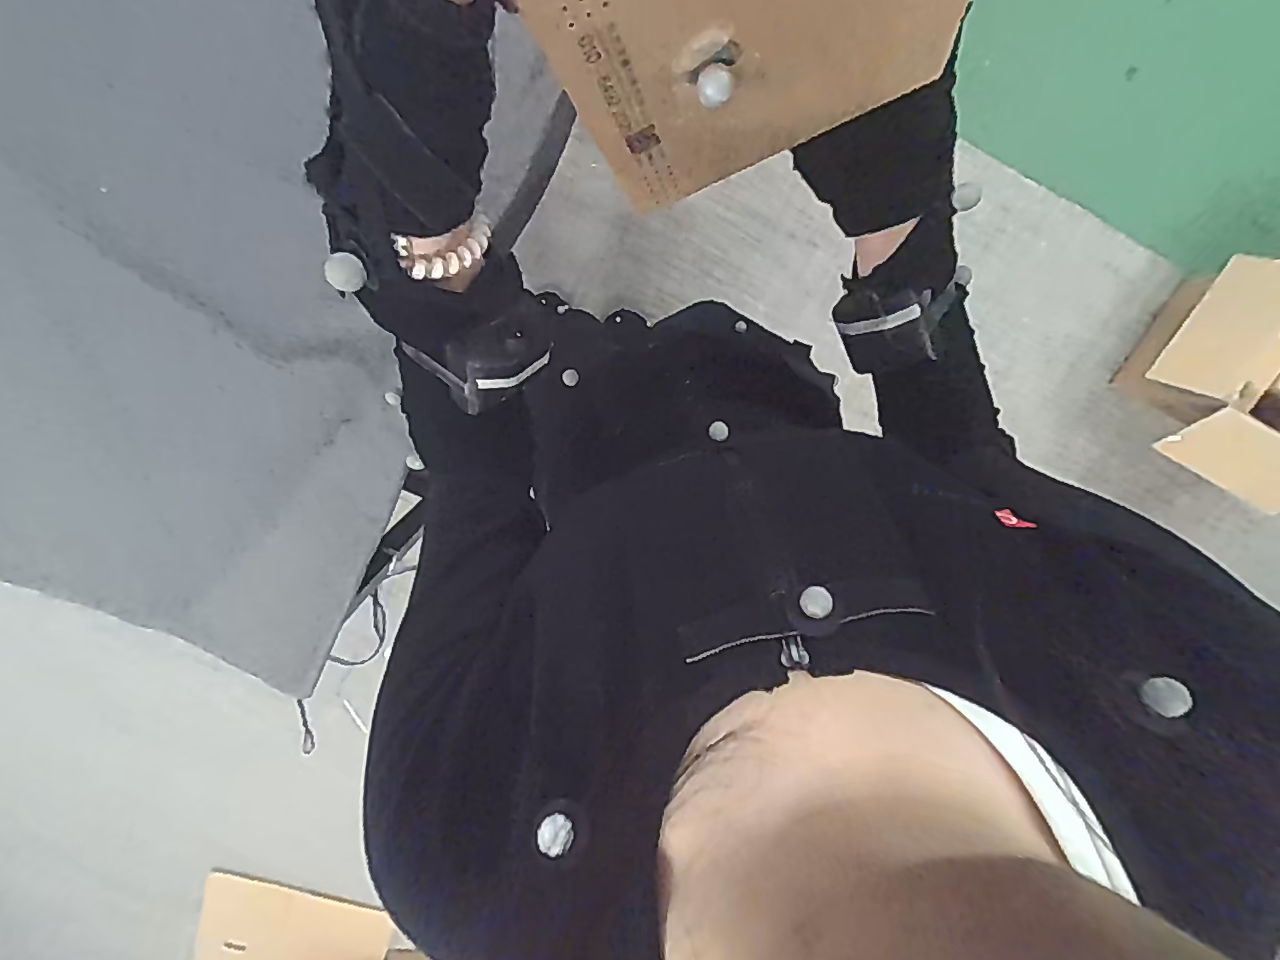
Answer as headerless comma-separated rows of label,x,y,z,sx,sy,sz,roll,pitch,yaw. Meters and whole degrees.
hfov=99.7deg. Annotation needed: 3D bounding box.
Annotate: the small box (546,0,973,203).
small box,0.030,-0.258,0.216,0.176,0.168,0.179,-19,85,13
